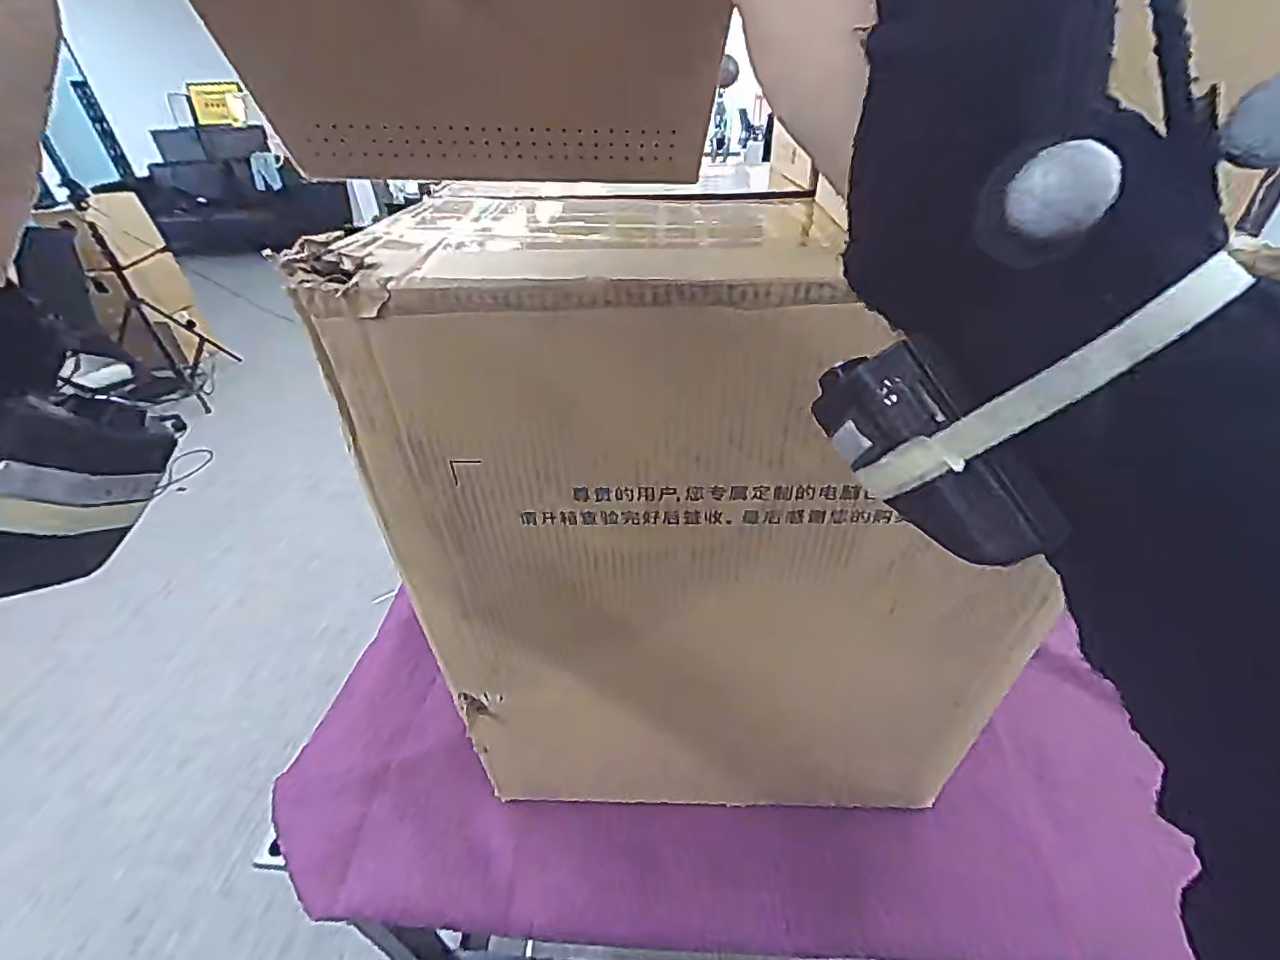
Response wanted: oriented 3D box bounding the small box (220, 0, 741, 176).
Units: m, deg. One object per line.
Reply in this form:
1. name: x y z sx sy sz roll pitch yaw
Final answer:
1. small box: -0.051 -0.234 0.185 0.179 0.176 0.168 -2 74 -3

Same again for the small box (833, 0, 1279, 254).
1. small box: 0.214 -0.231 0.297 0.179 0.176 0.168 0 38 5
